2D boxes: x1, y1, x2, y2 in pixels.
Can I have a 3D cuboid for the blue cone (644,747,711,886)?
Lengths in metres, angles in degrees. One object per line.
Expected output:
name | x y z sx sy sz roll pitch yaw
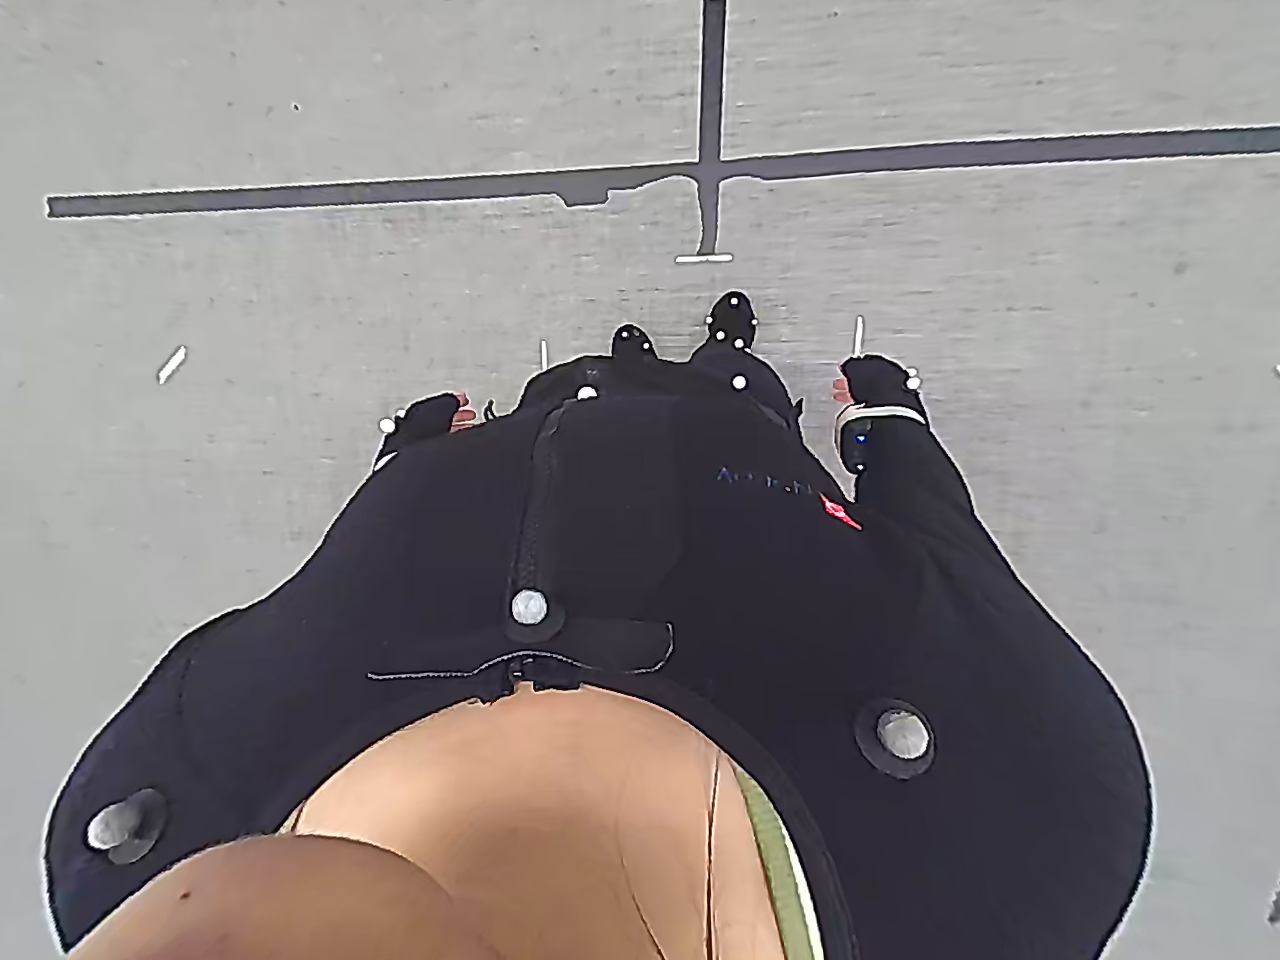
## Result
blue cone | 0.105 0.997 1.583 0.193 0.380 0.192 -14 105 10
